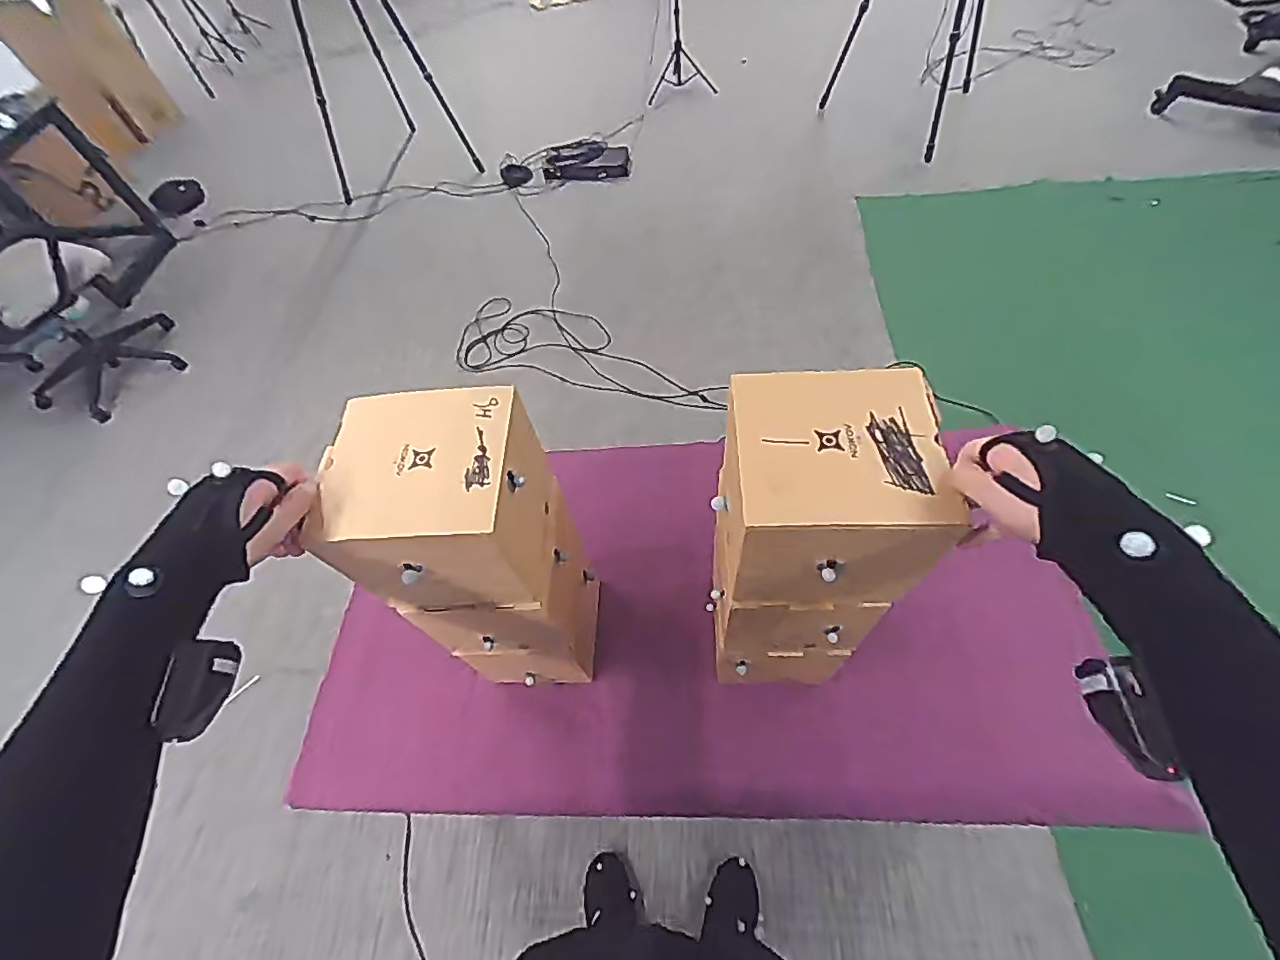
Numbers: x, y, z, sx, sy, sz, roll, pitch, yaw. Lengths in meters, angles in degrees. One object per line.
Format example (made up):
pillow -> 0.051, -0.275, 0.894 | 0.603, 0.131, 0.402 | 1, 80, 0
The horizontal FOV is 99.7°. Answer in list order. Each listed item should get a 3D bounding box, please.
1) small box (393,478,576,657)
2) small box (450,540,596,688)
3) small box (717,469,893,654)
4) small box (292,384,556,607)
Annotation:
small box -> -0.179, 0.115, 0.690 | 0.168, 0.176, 0.179 | -2, 57, 4
small box -> -0.163, 0.205, 0.824 | 0.168, 0.176, 0.179 | -2, 57, 6
small box -> 0.181, 0.105, 0.654 | 0.168, 0.176, 0.179 | -2, 56, 5
small box -> -0.198, 0.024, 0.555 | 0.179, 0.176, 0.168 | -3, 57, 5
